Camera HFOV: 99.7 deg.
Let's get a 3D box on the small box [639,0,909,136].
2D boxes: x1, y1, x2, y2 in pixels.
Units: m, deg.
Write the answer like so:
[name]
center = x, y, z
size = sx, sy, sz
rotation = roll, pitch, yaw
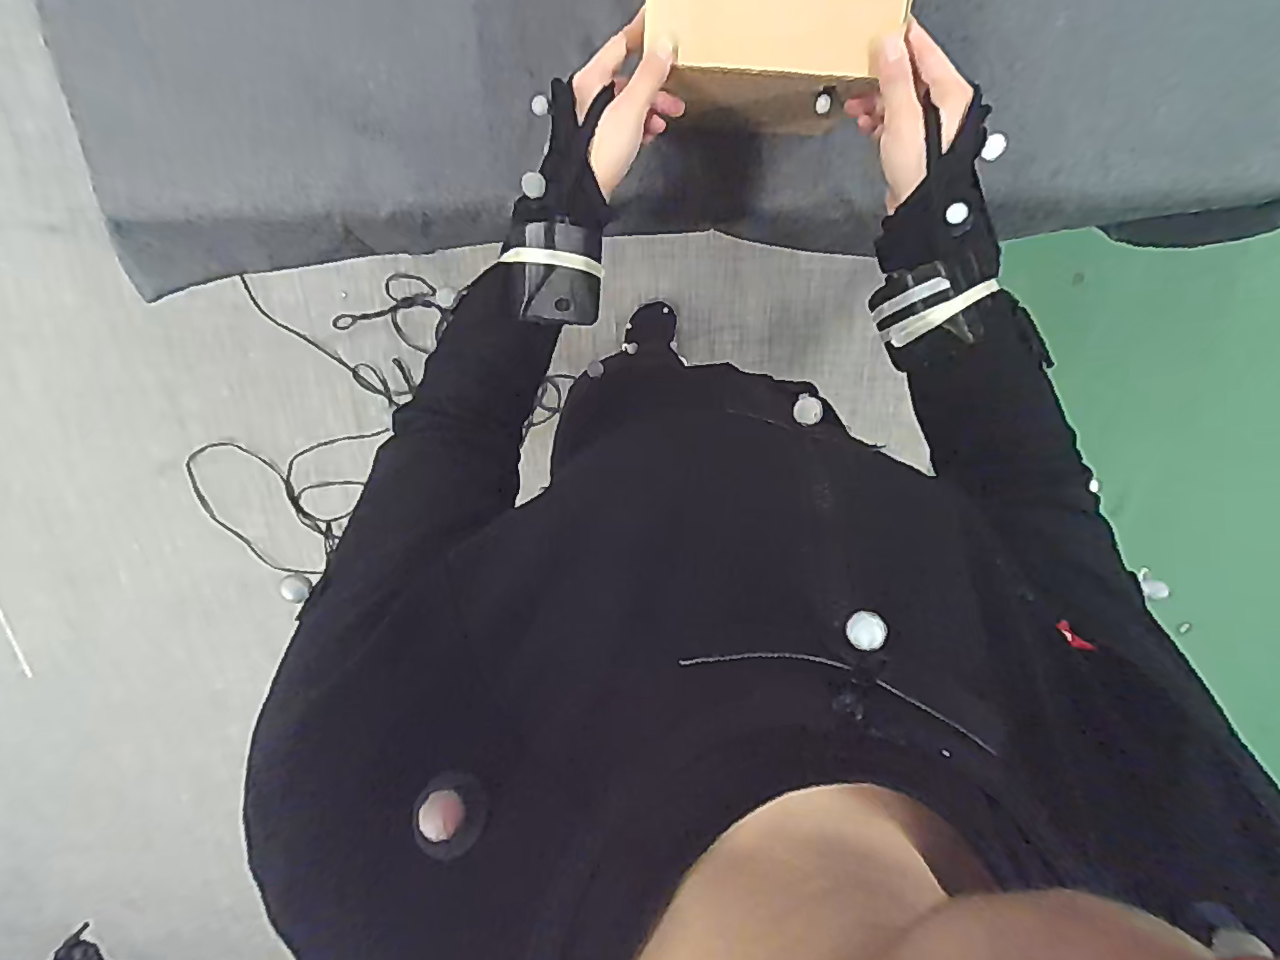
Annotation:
[small box]
center = 0.089, -0.378, 0.411
size = 0.179, 0.176, 0.168
rotation = 1, 111, -2
